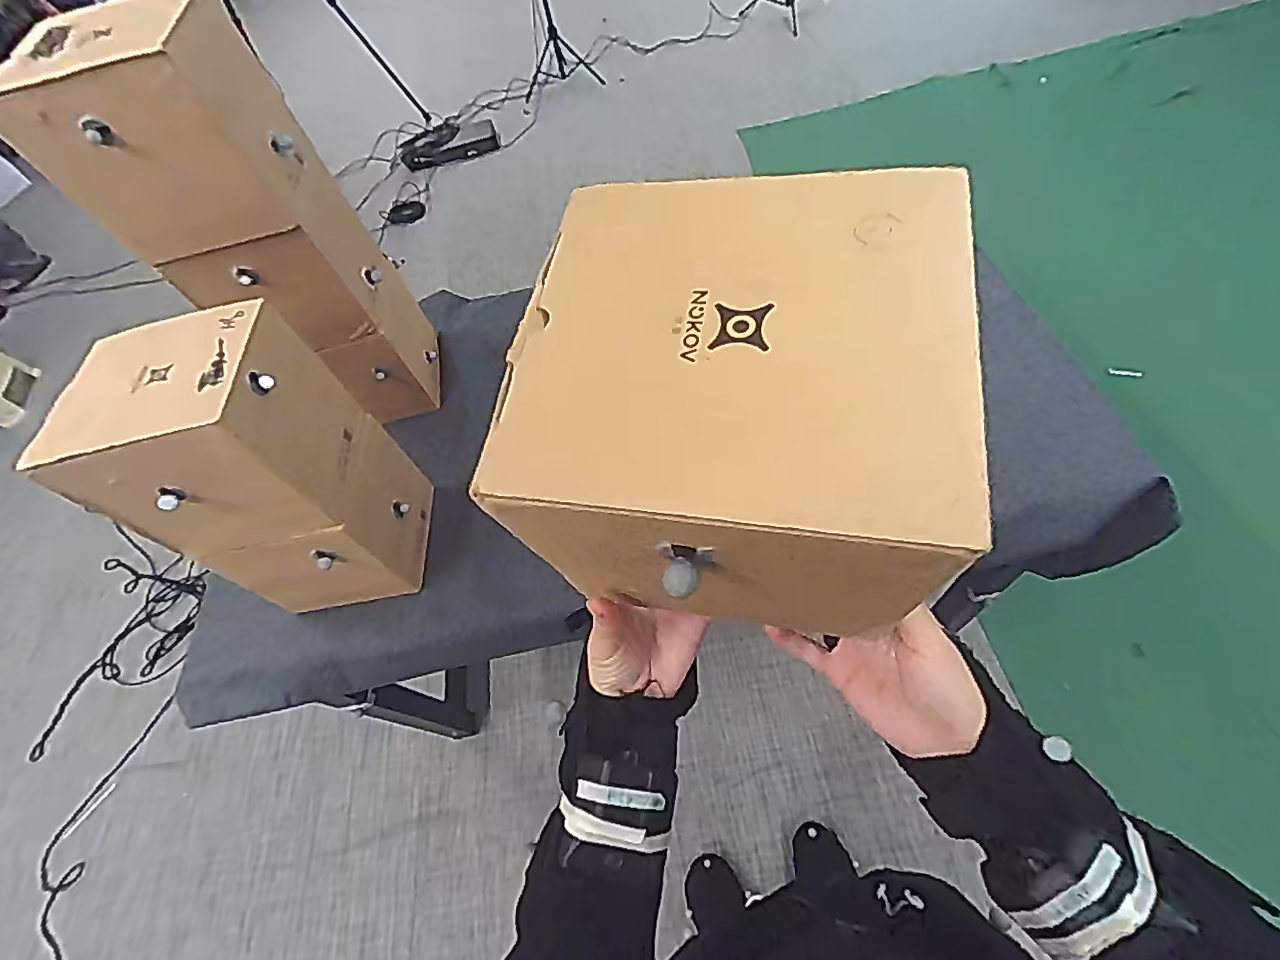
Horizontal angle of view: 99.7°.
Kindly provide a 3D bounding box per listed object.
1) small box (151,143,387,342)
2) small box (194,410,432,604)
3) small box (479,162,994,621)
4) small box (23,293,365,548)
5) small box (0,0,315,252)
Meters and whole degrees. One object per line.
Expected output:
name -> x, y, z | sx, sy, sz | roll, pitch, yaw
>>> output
small box -> -0.457, -0.289, 0.698 | 0.179, 0.176, 0.168 | -15, 60, 0
small box -> -0.383, 0.040, 0.675 | 0.179, 0.176, 0.168 | -11, 55, 4
small box -> 0.052, -0.029, 0.282 | 0.179, 0.176, 0.168 | 5, 67, 15
small box -> -0.414, -0.050, 0.541 | 0.179, 0.176, 0.168 | -14, 56, 3
small box -> -0.477, -0.363, 0.552 | 0.179, 0.176, 0.168 | -13, 60, 2
